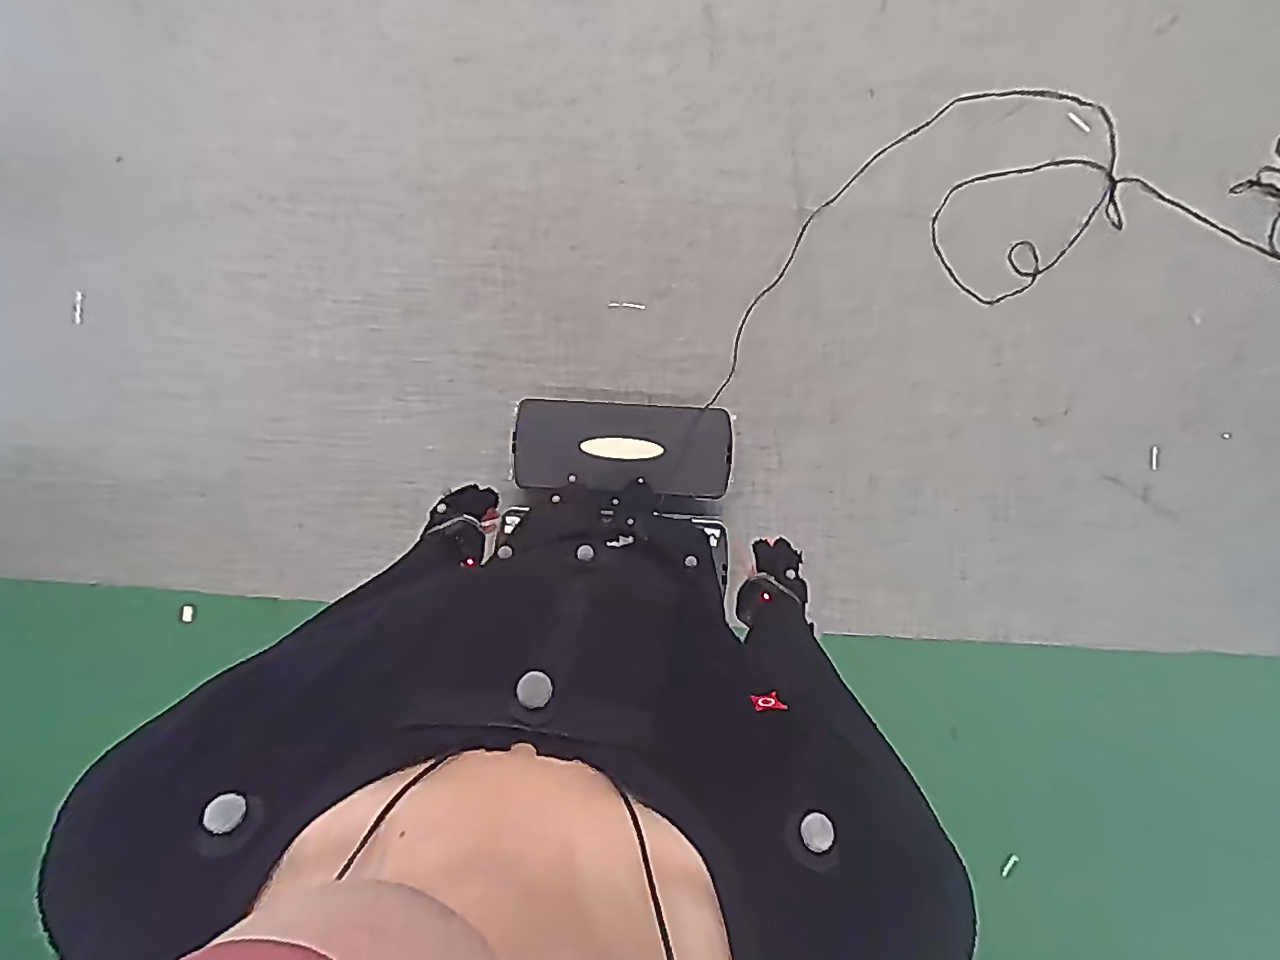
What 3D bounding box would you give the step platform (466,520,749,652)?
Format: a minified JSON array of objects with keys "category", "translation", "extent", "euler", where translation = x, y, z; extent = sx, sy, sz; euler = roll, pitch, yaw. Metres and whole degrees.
[{"category":"step platform","translation":[-0.078,0.261,1.394],"extent":[0.684,0.204,0.286],"euler":[3,89,-1]}]
